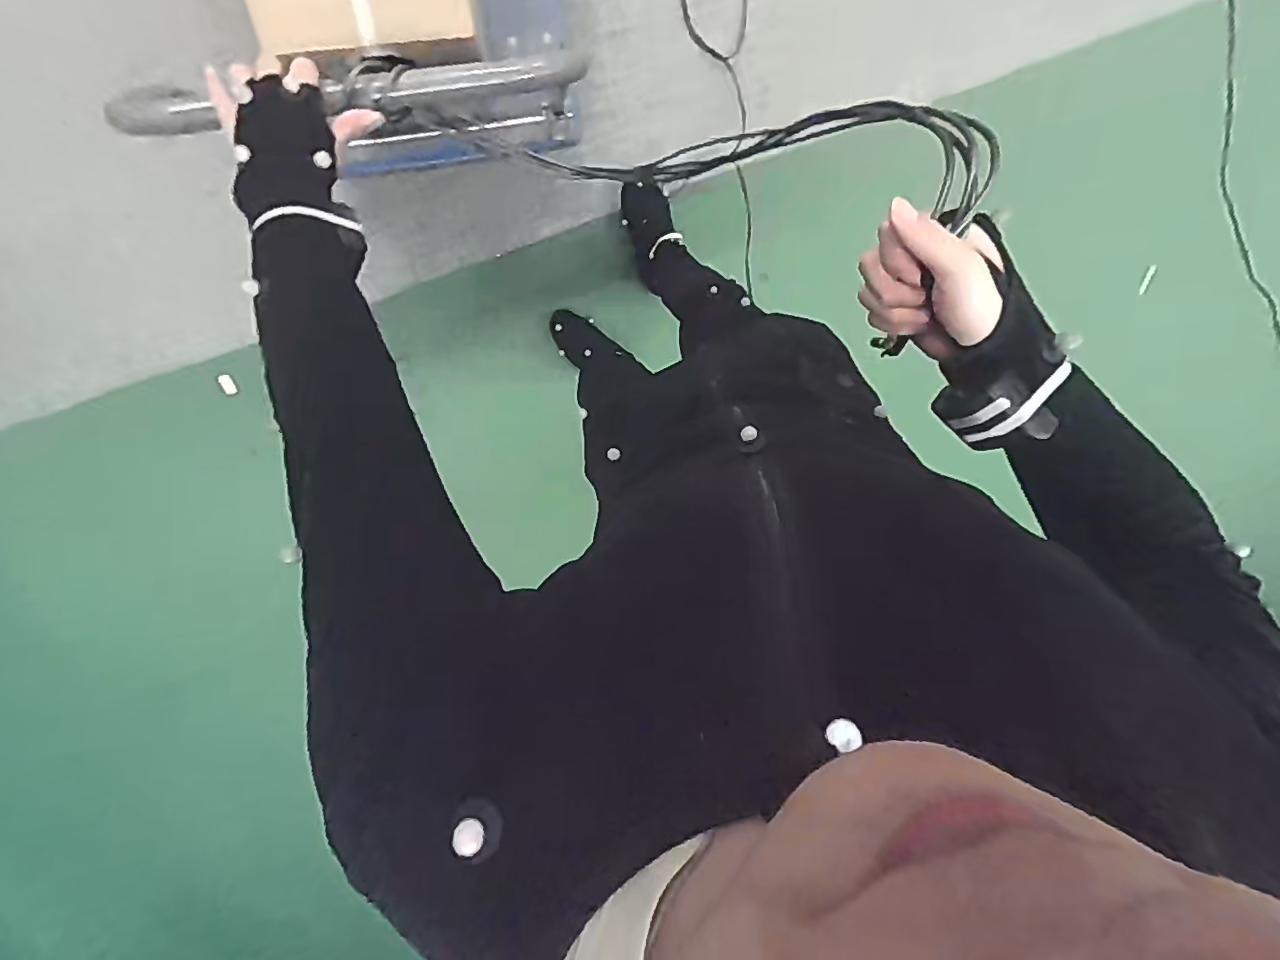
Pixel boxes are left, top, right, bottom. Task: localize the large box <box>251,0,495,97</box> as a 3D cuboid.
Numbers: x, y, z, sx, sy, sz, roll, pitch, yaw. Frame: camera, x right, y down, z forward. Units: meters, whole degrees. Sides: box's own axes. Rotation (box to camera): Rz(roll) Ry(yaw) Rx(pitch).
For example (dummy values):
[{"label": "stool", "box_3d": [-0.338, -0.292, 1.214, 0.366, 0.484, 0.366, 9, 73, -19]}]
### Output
[{"label": "large box", "box_3d": [-0.442, -0.896, 0.856, 0.320, 0.320, 0.408, -10, 115, -5]}]
